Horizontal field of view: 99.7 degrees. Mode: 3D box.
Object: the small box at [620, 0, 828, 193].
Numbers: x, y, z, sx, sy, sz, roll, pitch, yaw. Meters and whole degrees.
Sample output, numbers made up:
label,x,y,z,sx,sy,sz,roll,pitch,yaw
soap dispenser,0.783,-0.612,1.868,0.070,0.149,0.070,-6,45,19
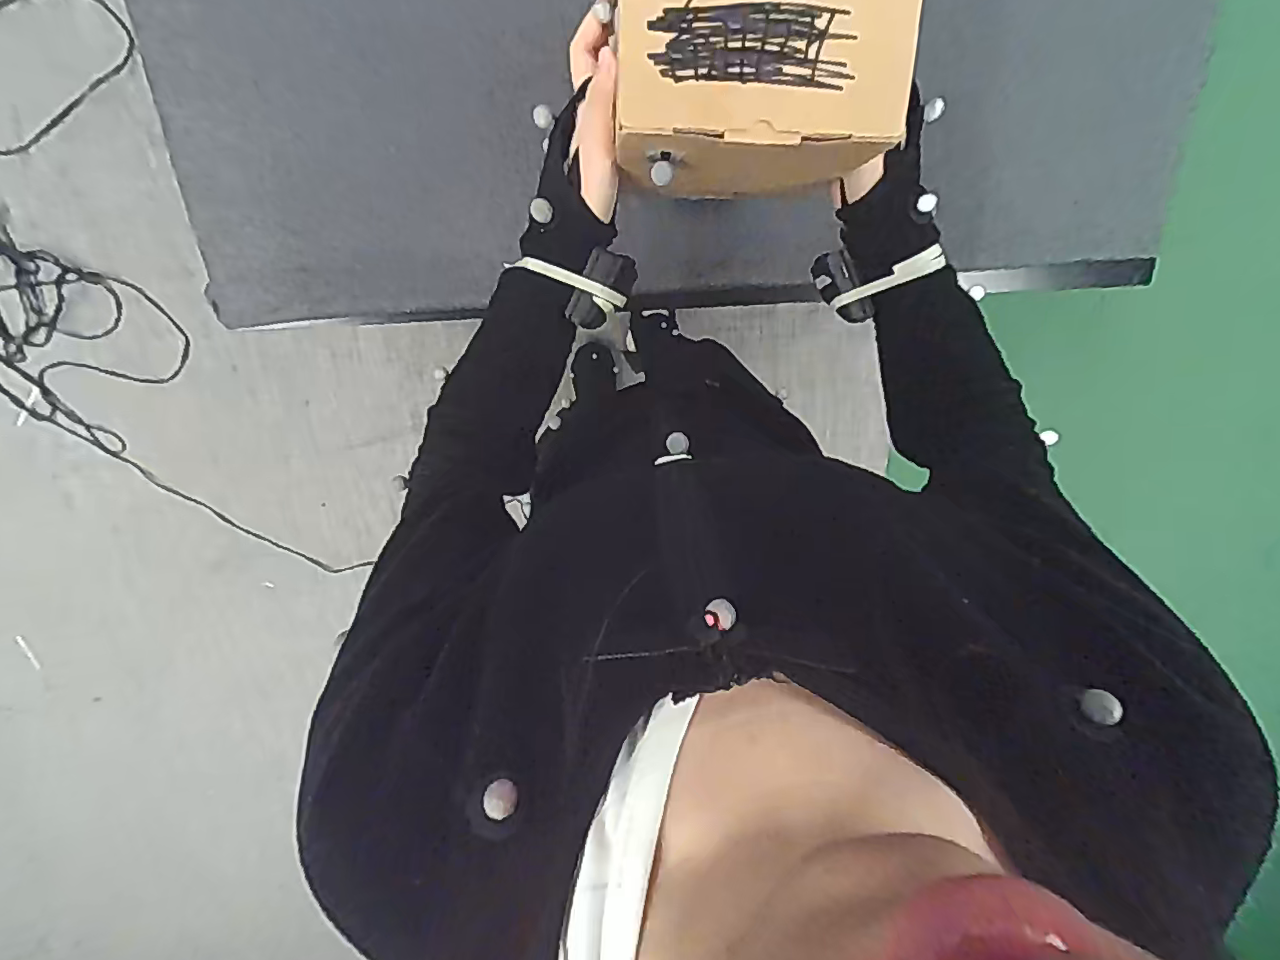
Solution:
label,x,y,z,sx,sy,sz,roll,pitch,yaw
small box,0.068,-0.399,0.534,0.168,0.176,0.179,0,110,-6
